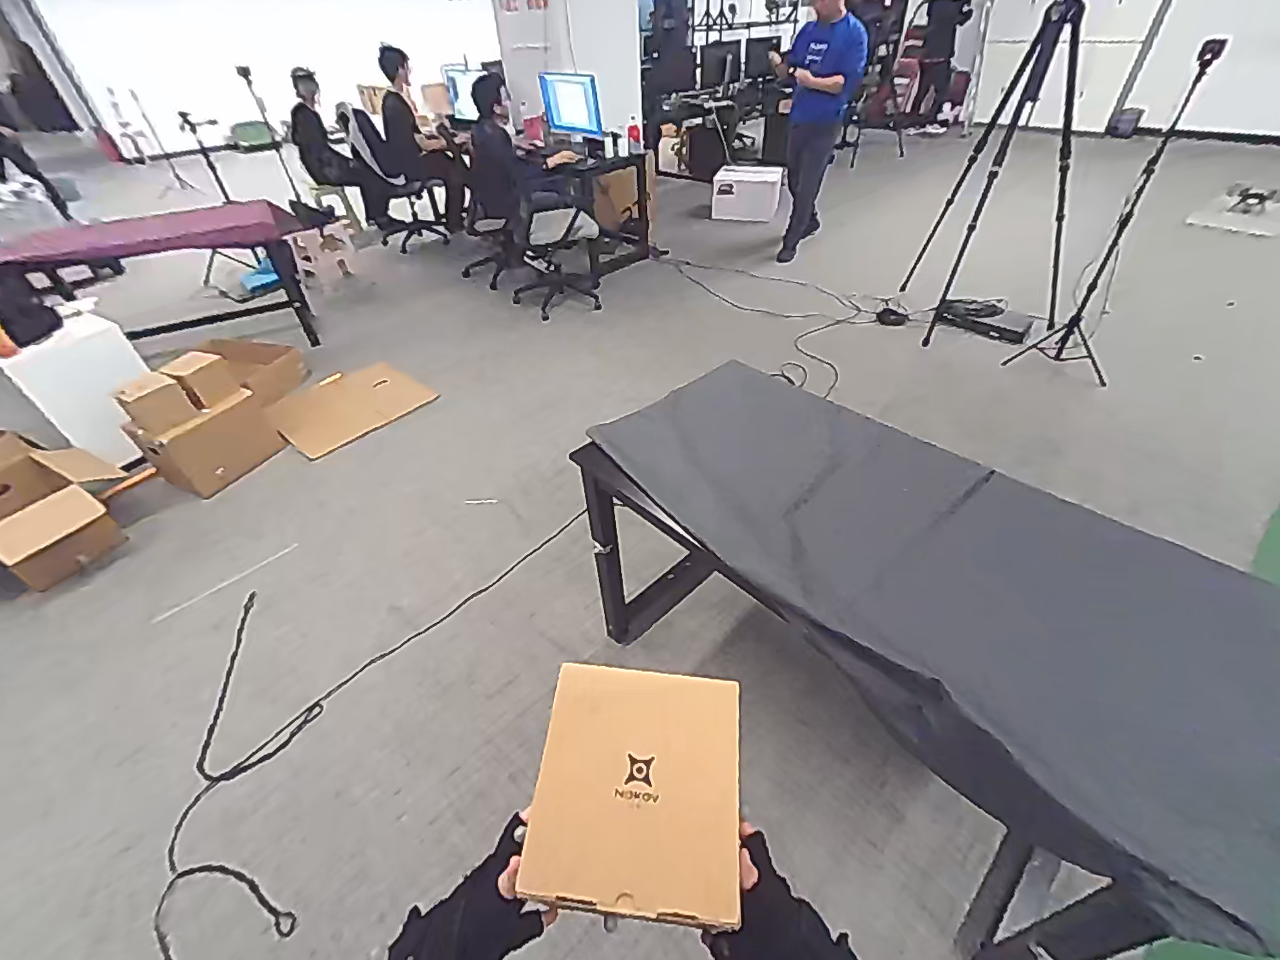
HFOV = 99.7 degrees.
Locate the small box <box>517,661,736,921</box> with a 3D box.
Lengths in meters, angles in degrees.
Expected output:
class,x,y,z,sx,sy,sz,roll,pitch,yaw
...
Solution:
class,x,y,z,sx,sy,sz,roll,pitch,yaw
small box,-0.006,0.297,0.515,0.168,0.176,0.179,6,52,3
